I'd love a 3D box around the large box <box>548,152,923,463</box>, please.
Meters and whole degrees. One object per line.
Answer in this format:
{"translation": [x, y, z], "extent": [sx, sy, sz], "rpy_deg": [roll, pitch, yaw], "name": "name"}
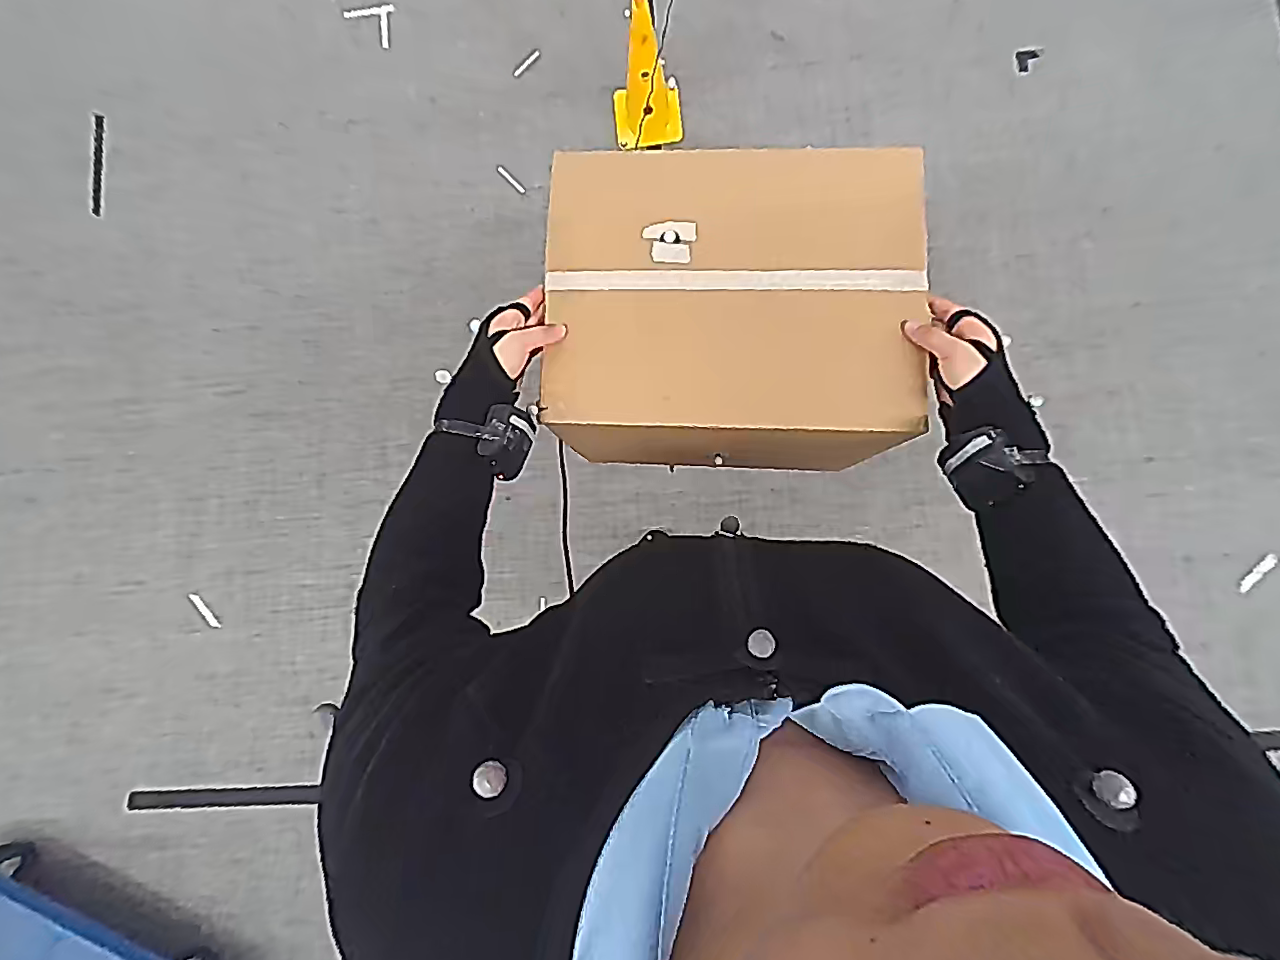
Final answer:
{"translation": [0.113, -0.194, 0.740], "extent": [0.408, 0.320, 0.320], "rpy_deg": [1, 83, 5], "name": "large box"}
